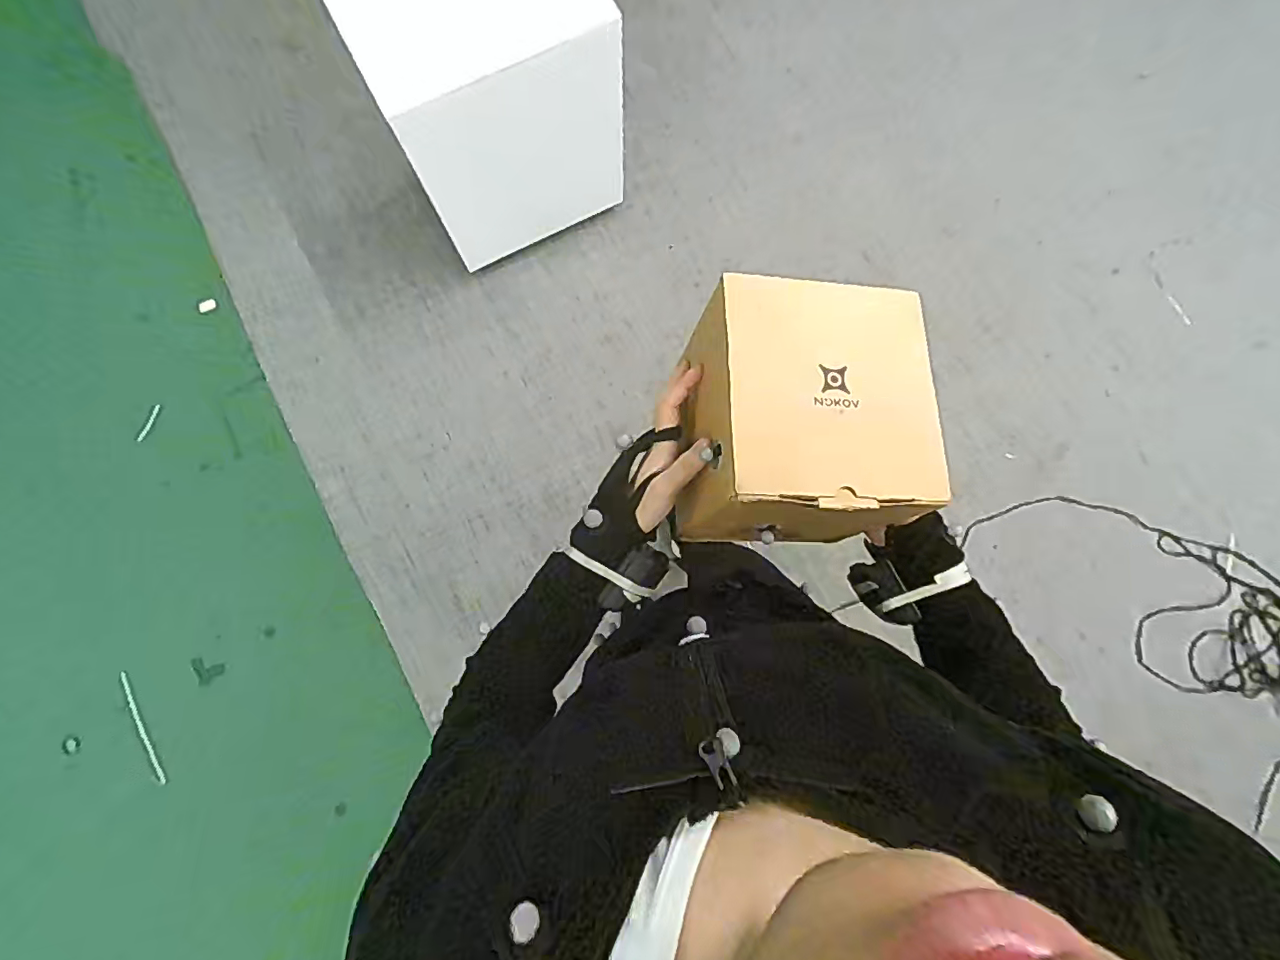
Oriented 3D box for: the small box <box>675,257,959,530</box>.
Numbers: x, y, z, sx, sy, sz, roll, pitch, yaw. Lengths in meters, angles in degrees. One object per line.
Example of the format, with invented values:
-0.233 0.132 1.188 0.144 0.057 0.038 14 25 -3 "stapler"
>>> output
0.129 -0.059 0.465 0.168 0.176 0.179 1 75 -10 "small box"
